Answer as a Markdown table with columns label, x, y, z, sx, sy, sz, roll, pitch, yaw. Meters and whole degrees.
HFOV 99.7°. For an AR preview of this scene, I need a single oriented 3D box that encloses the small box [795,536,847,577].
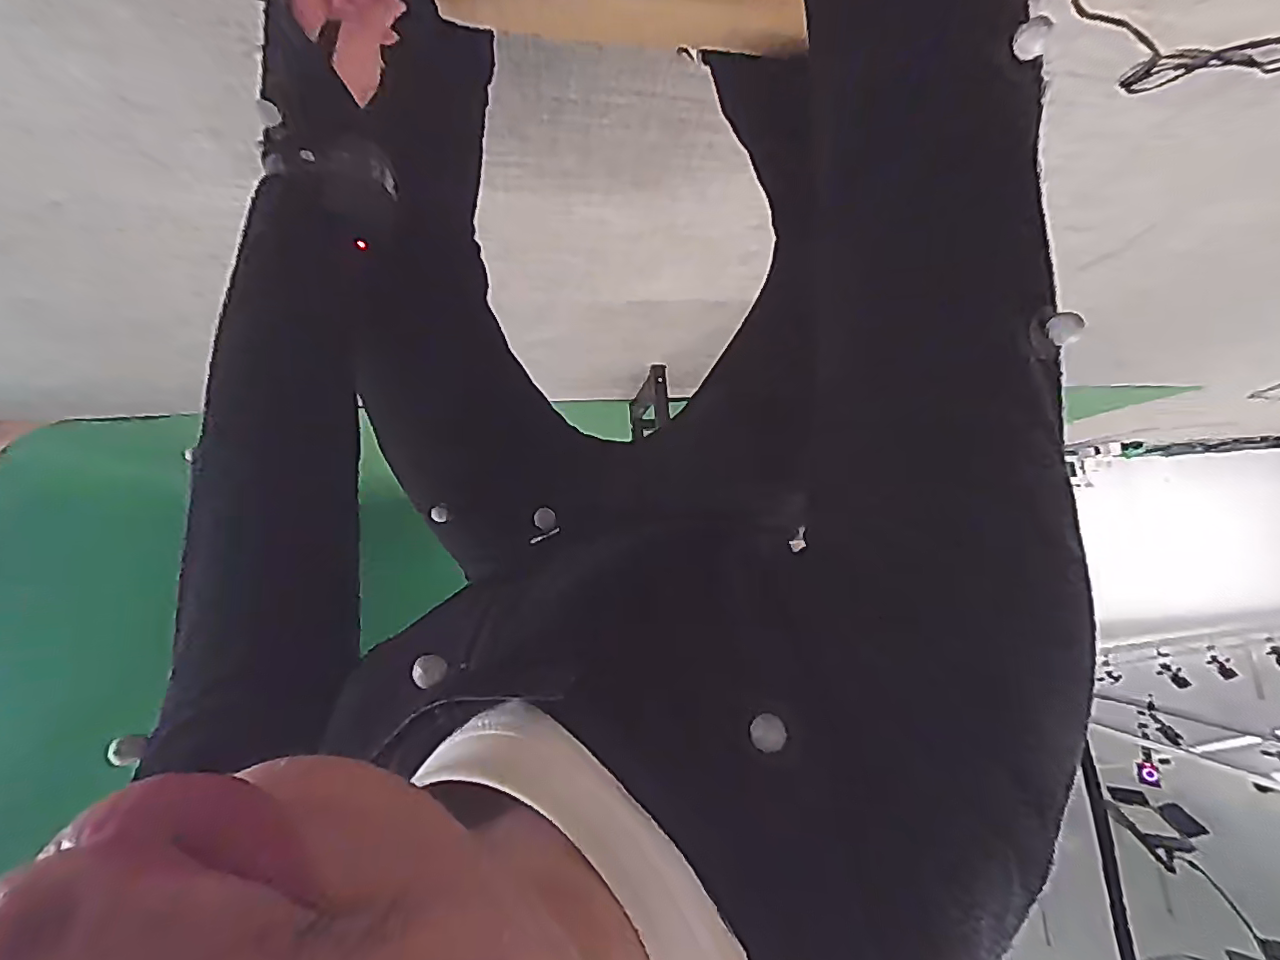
| label | x | y | z | sx | sy | sz | roll | pitch | yaw |
| --- | --- | --- | --- | --- | --- | --- | --- | --- | --- |
| small box | 0.831 | 0.352 | 2.508 | 0.168 | 0.176 | 0.179 | -5 | 173 | -7 |
